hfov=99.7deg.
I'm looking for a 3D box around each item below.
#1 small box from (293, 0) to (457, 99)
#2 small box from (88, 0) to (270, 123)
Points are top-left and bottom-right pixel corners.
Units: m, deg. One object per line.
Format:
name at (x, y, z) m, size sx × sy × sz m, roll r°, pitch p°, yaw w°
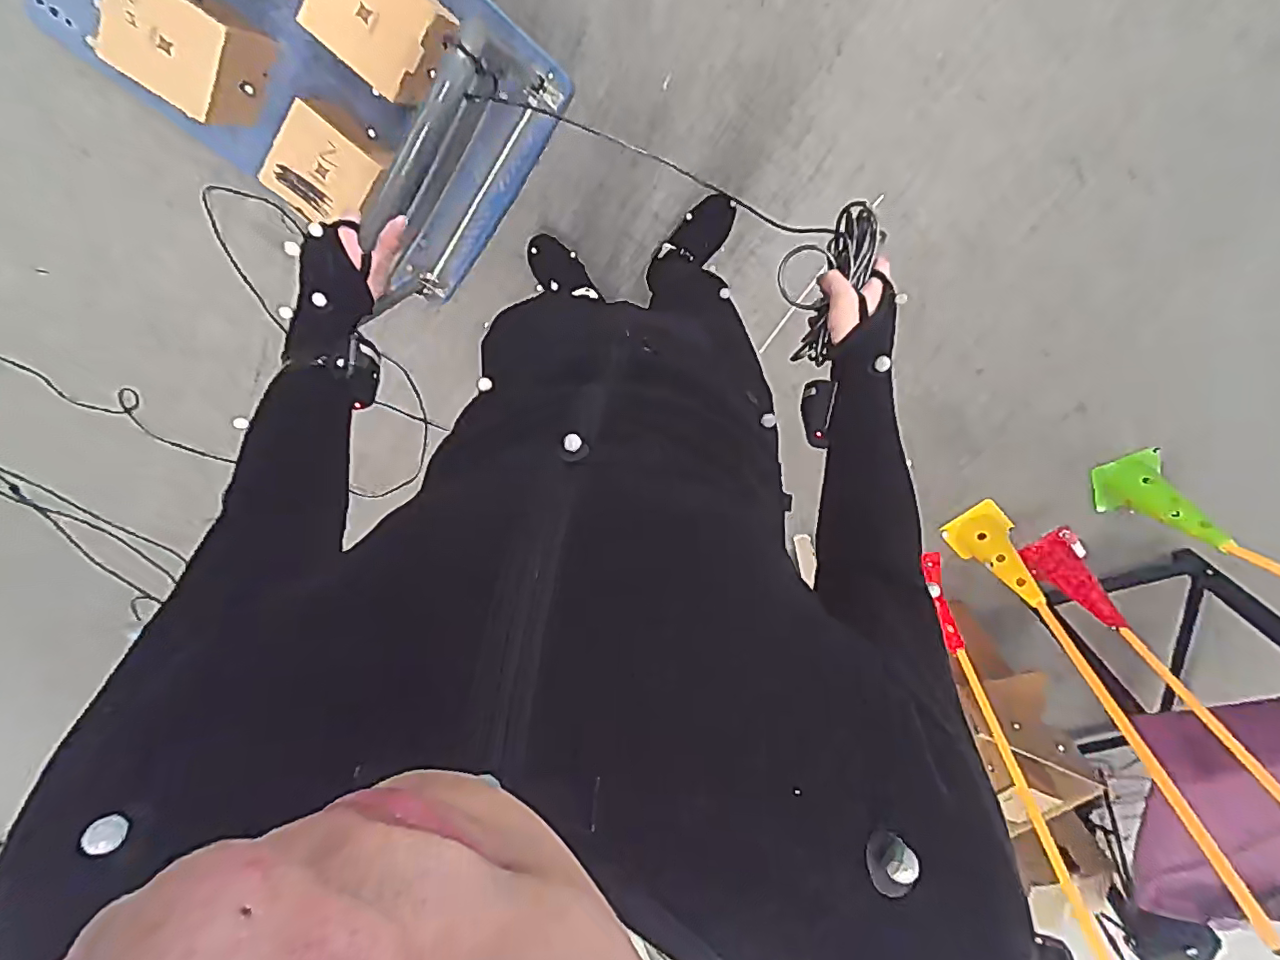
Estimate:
small box at (-0.456, -0.809, 0.954) m, size 0.179 × 0.176 × 0.168 m, roll 35°, pitch 115°, yaw -22°
small box at (-0.807, -0.774, 0.964) m, size 0.179 × 0.176 × 0.168 m, roll 31°, pitch 116°, yaw -19°
